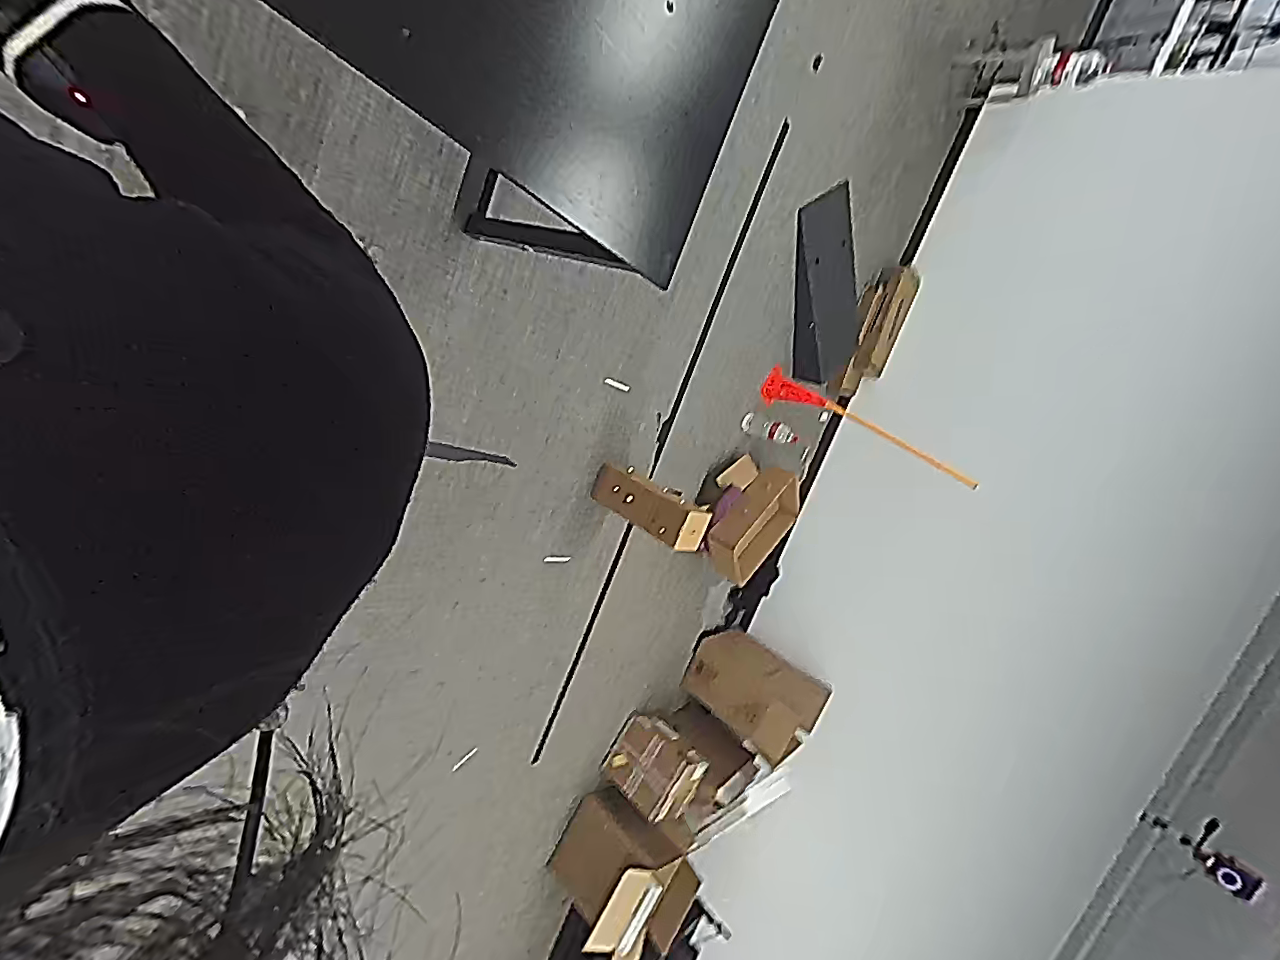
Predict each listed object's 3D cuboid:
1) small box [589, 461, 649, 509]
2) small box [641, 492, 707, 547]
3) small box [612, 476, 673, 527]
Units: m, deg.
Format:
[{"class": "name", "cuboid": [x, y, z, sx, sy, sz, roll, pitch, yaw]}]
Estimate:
[{"class": "small box", "cuboid": [-0.097, 0.030, 2.372, 0.168, 0.176, 0.179, 11, 104, -53]}, {"class": "small box", "cuboid": [0.134, 0.157, 2.181, 0.179, 0.176, 0.168, 9, 106, -54]}, {"class": "small box", "cuboid": [0.017, 0.094, 2.273, 0.179, 0.176, 0.168, 11, 103, -53]}]
